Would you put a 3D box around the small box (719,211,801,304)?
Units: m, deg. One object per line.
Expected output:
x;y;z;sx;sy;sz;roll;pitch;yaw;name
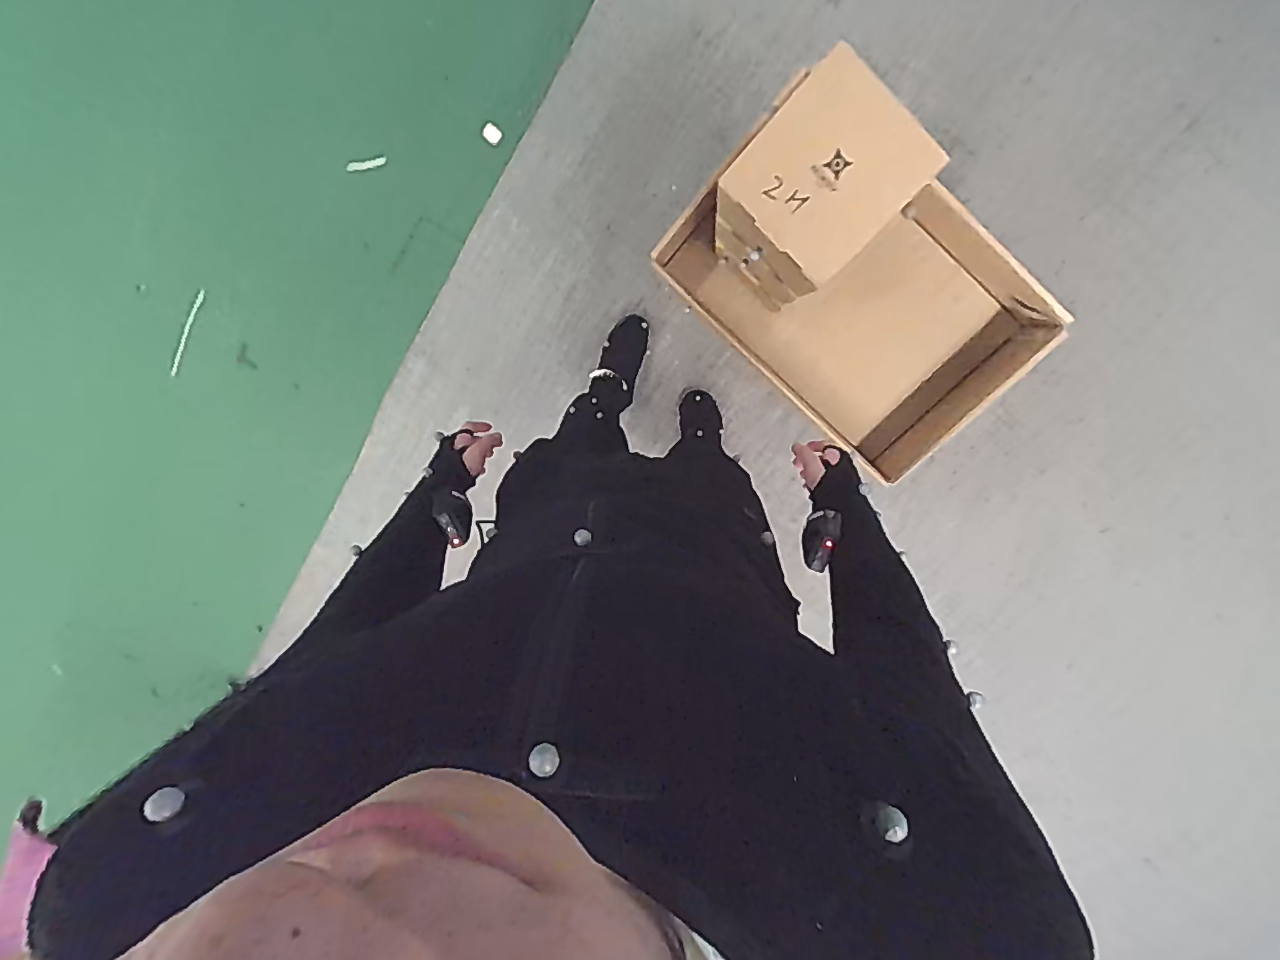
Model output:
0.230;-0.387;0.811;0.168;0.176;0.179;43;107;-7;small box

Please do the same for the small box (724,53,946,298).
0.214;-0.342;0.652;0.168;0.176;0.179;45;107;-7;small box
